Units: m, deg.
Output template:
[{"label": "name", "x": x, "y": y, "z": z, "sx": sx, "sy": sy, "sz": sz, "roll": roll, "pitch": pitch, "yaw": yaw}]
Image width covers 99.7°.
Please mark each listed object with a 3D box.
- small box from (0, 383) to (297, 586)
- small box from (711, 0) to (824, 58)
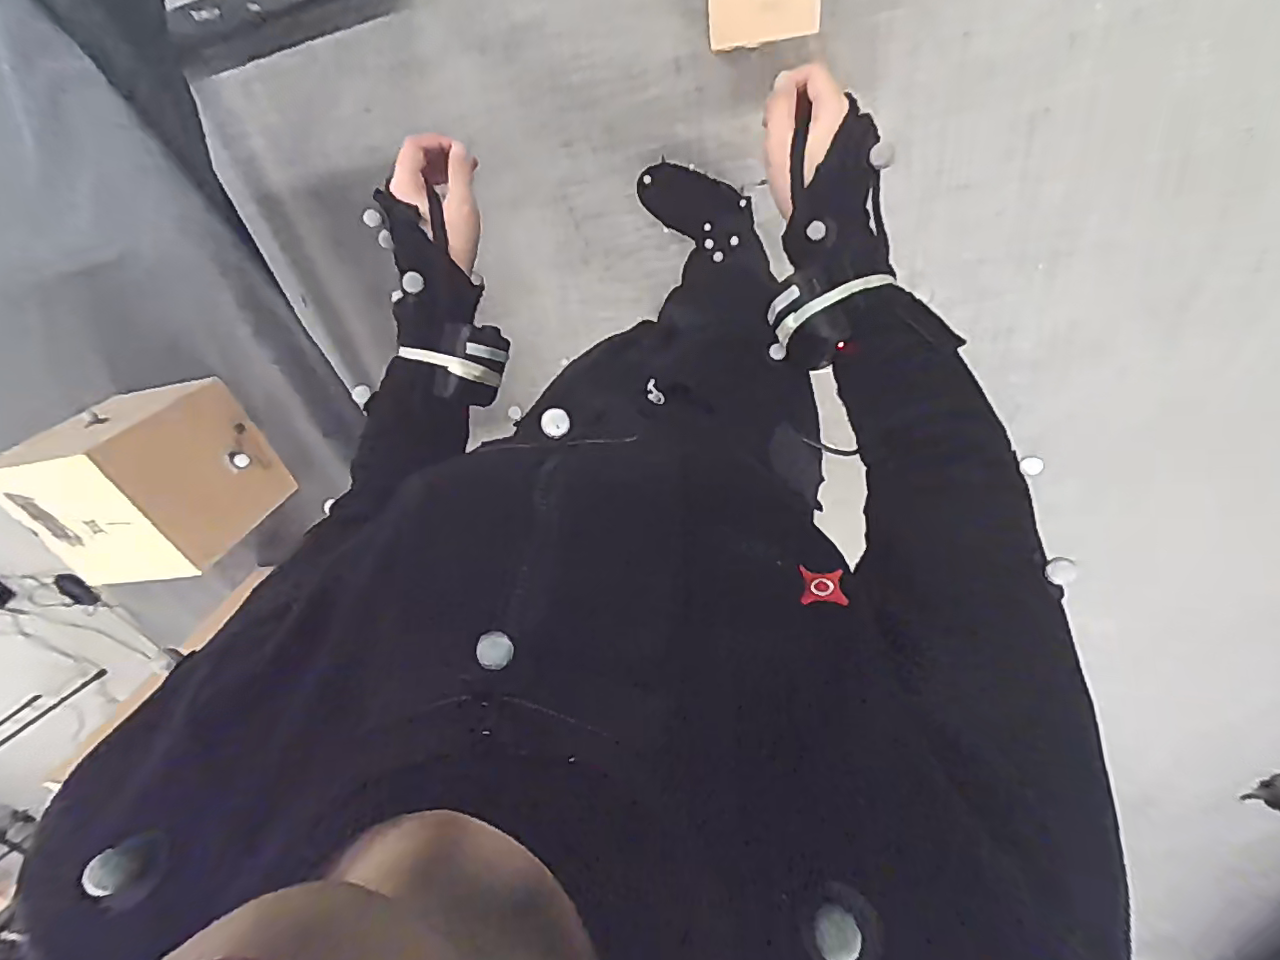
[{"label": "small box", "x": -0.560, "y": 0.004, "z": 0.633, "sx": 0.179, "sy": 0.176, "sz": 0.168, "roll": -6, "pitch": 124, "yaw": 15}, {"label": "small box", "x": 0.194, "y": -0.781, "z": 0.842, "sx": 0.168, "sy": 0.176, "sz": 0.179, "roll": -1, "pitch": 127, "yaw": 12}]
